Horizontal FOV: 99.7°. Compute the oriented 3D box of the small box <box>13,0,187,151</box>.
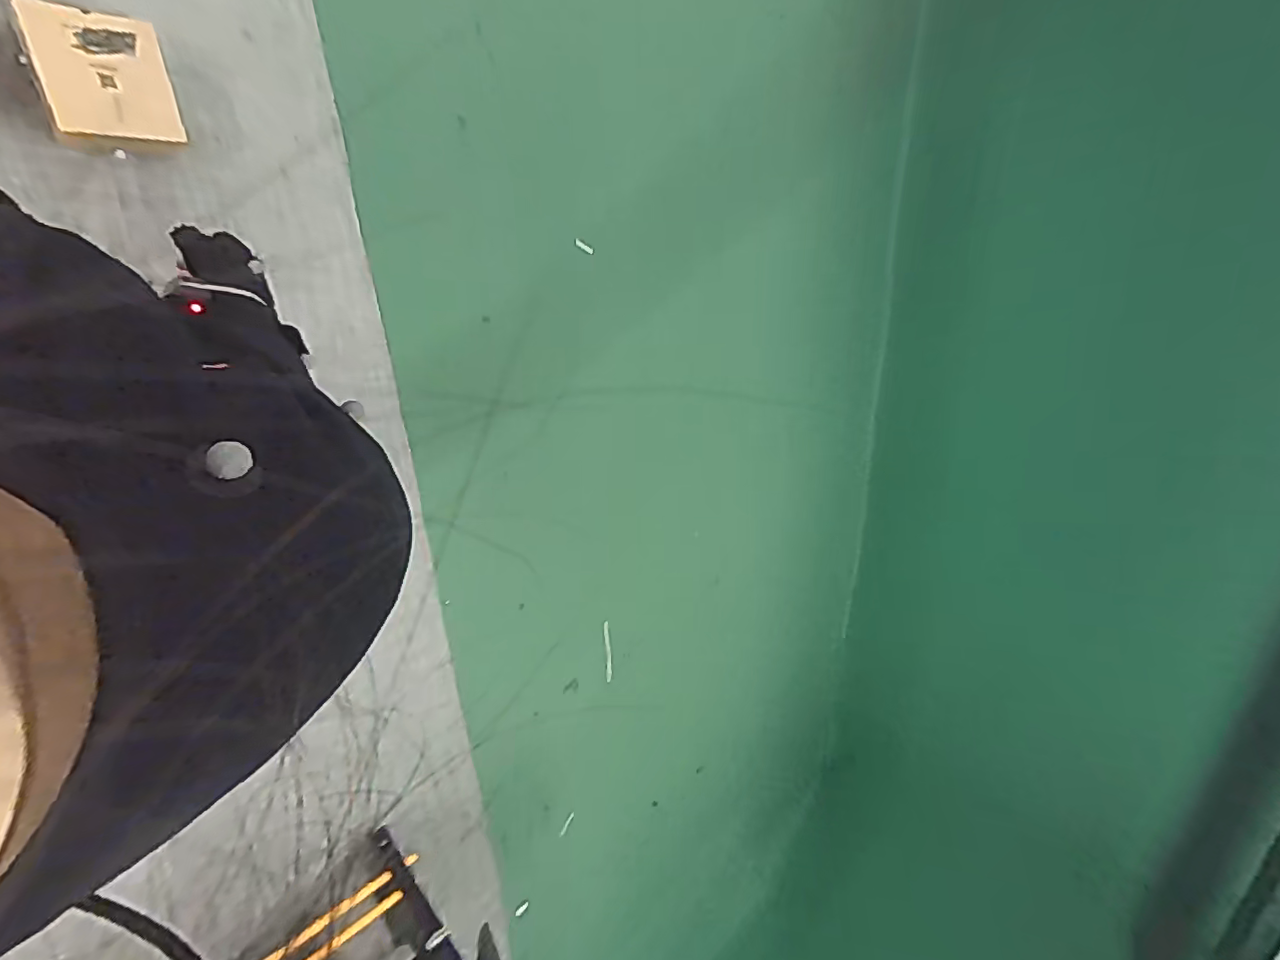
[{"bbox_3d":[-0.912,-0.679,0.916,0.168,0.176,0.179,-23,121,-40],"label":"small box"}]
